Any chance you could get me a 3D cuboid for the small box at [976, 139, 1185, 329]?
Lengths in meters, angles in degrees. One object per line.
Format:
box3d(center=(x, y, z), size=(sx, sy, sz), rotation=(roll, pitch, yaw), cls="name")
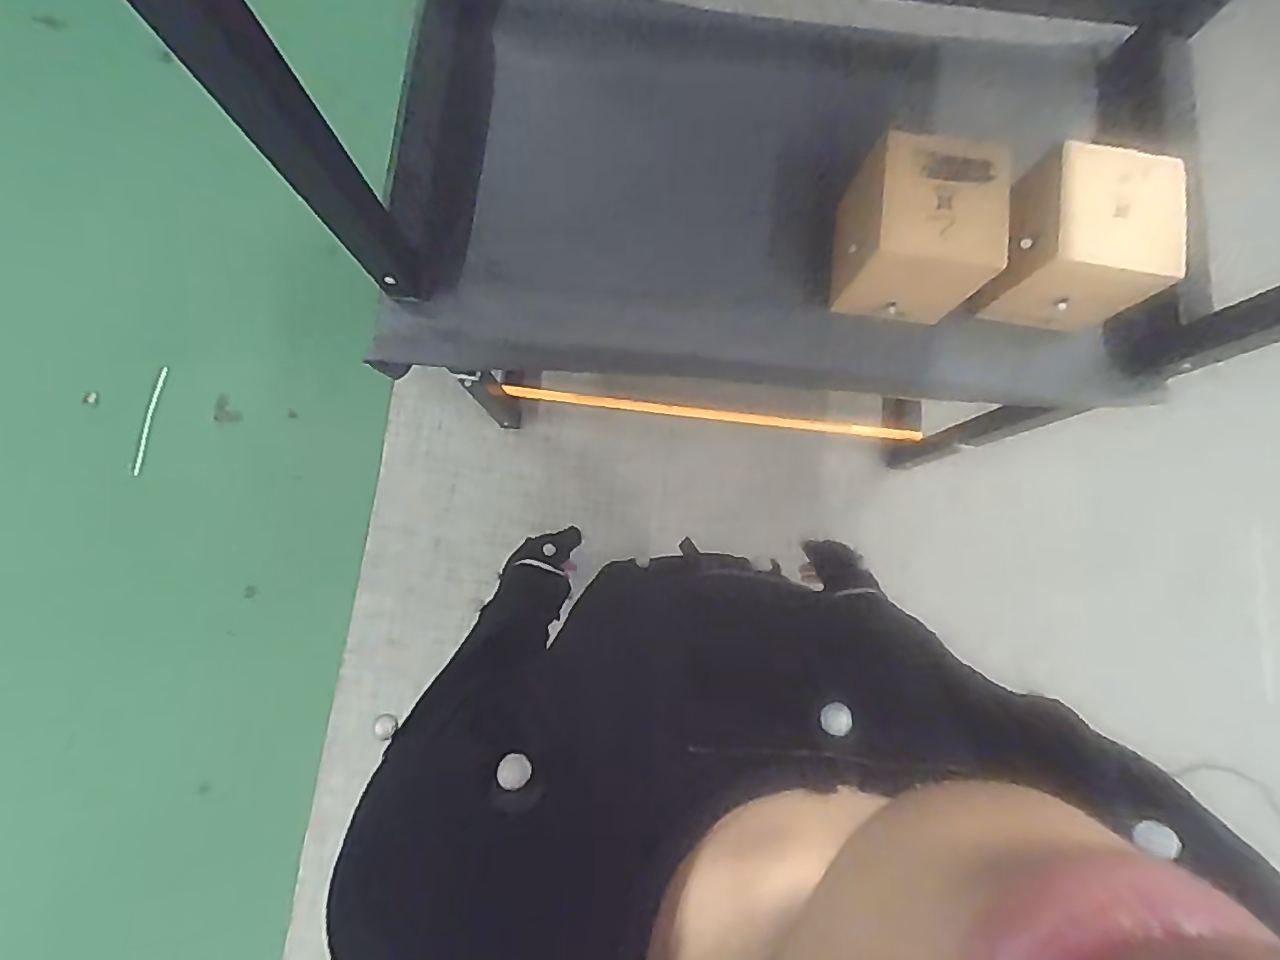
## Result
box3d(center=(0.612, -0.337, 0.772), size=(0.168, 0.176, 0.179), rotation=(10, 80, 0), cls="small box")
